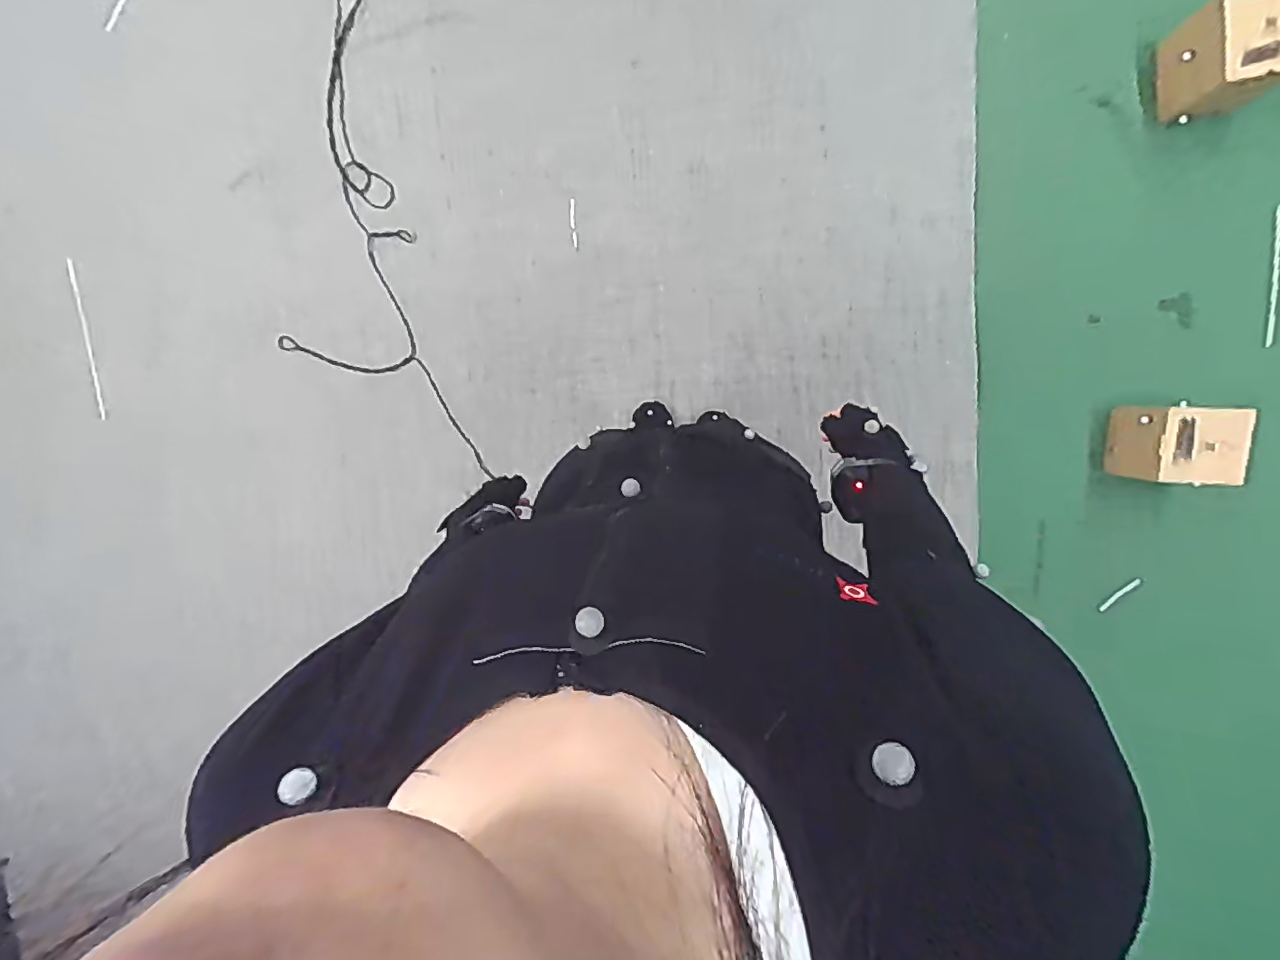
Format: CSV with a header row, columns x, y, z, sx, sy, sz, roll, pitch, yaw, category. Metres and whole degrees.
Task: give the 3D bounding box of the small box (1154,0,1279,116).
x,y,z,sx,sy,sz,roll,pitch,yaw,category
1.239,-0.905,1.141,0.168,0.176,0.179,-6,96,7,small box
